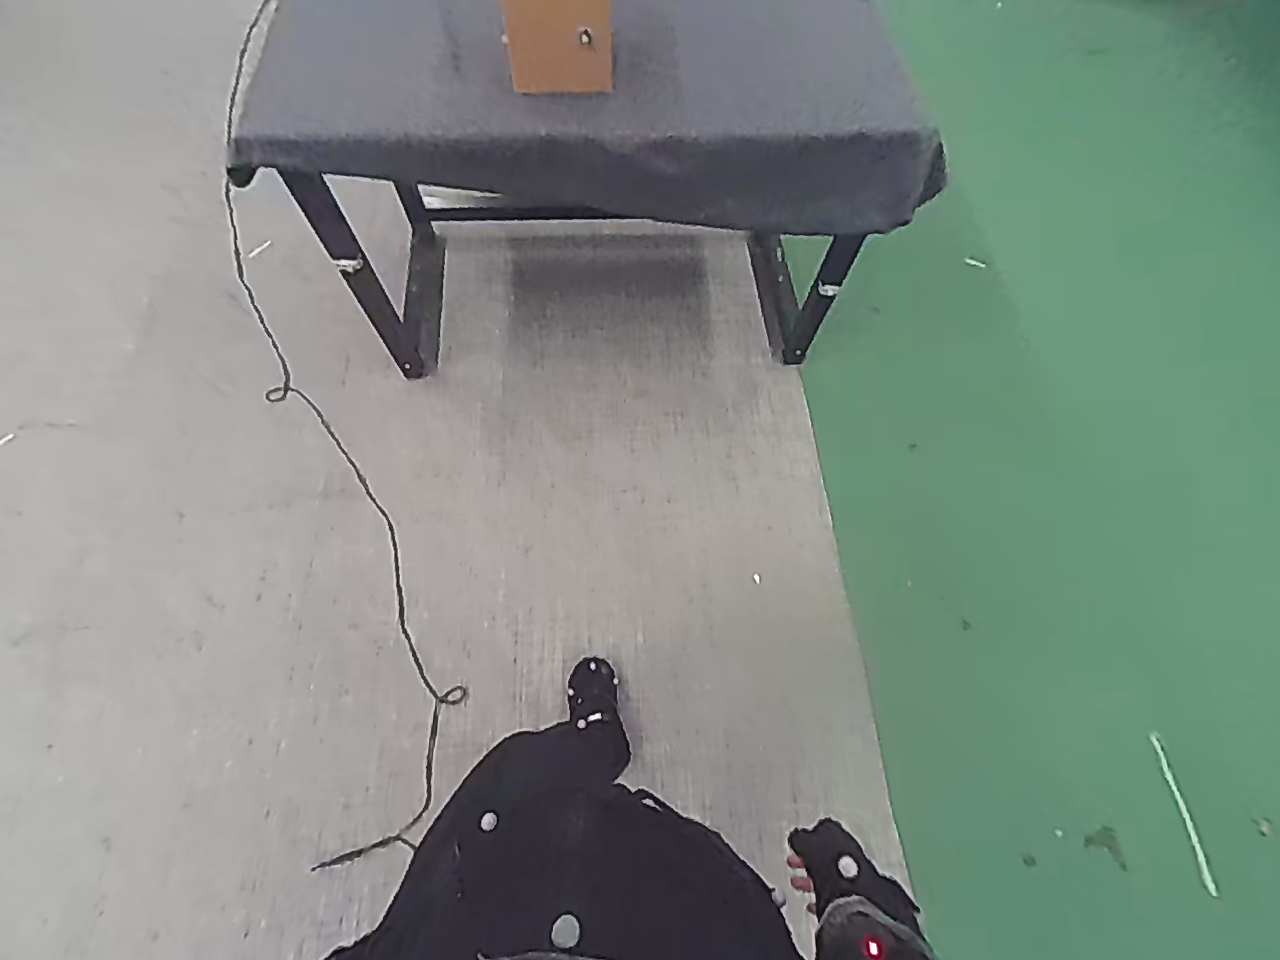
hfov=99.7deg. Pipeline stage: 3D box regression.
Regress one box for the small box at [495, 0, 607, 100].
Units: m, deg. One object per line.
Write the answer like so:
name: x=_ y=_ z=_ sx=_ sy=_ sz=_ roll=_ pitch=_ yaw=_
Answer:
small box: x=-0.149 y=-0.795 z=0.939 sx=0.179 sy=0.176 sz=0.168 roll=-5 pitch=65 yaw=-3
